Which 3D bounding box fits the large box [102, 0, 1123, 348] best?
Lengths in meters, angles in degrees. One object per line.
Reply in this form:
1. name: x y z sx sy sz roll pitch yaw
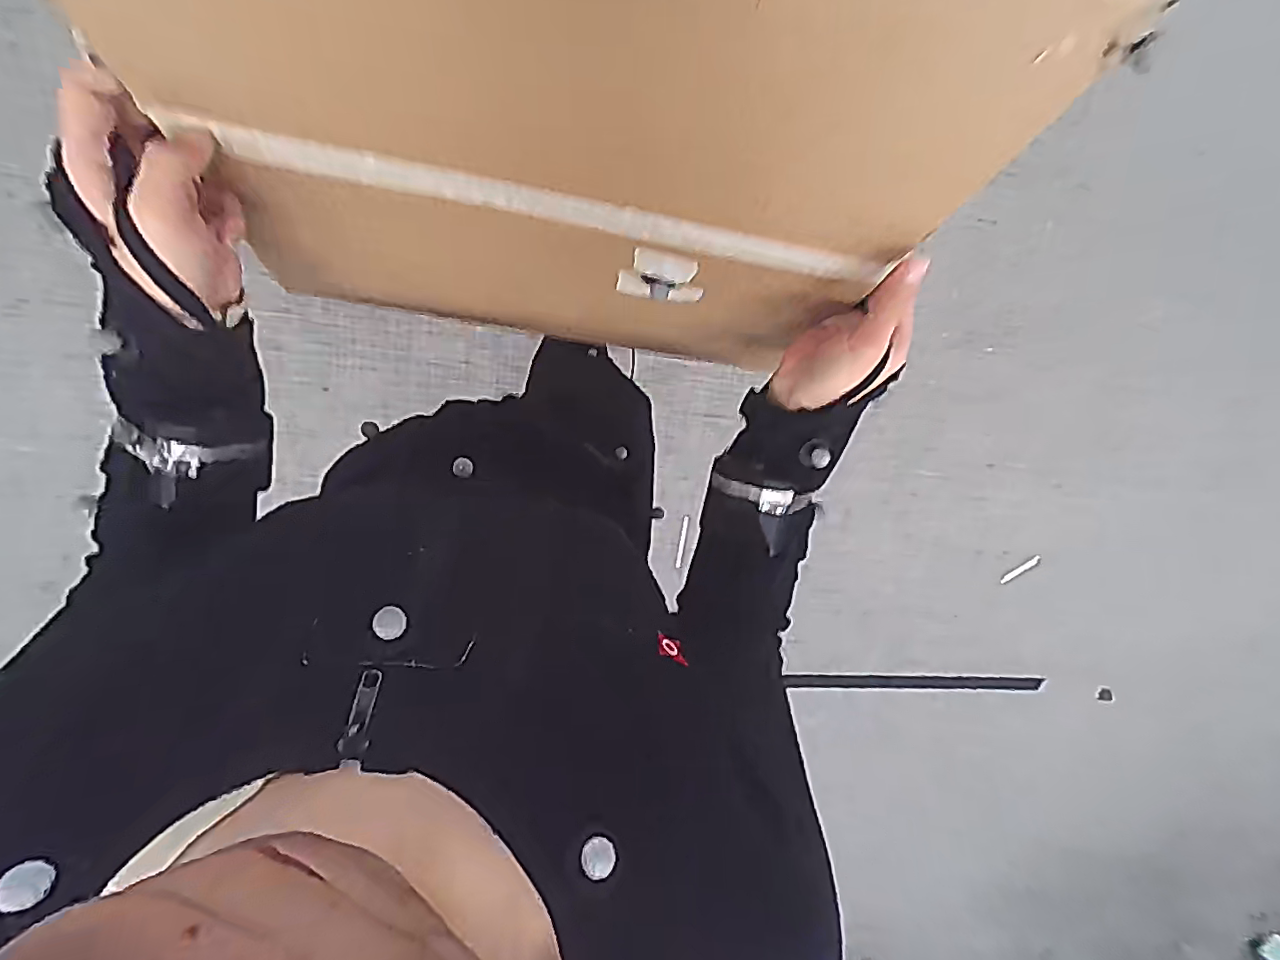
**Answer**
1. large box: -0.032 -0.314 0.337 0.408 0.320 0.320 6 78 -11
